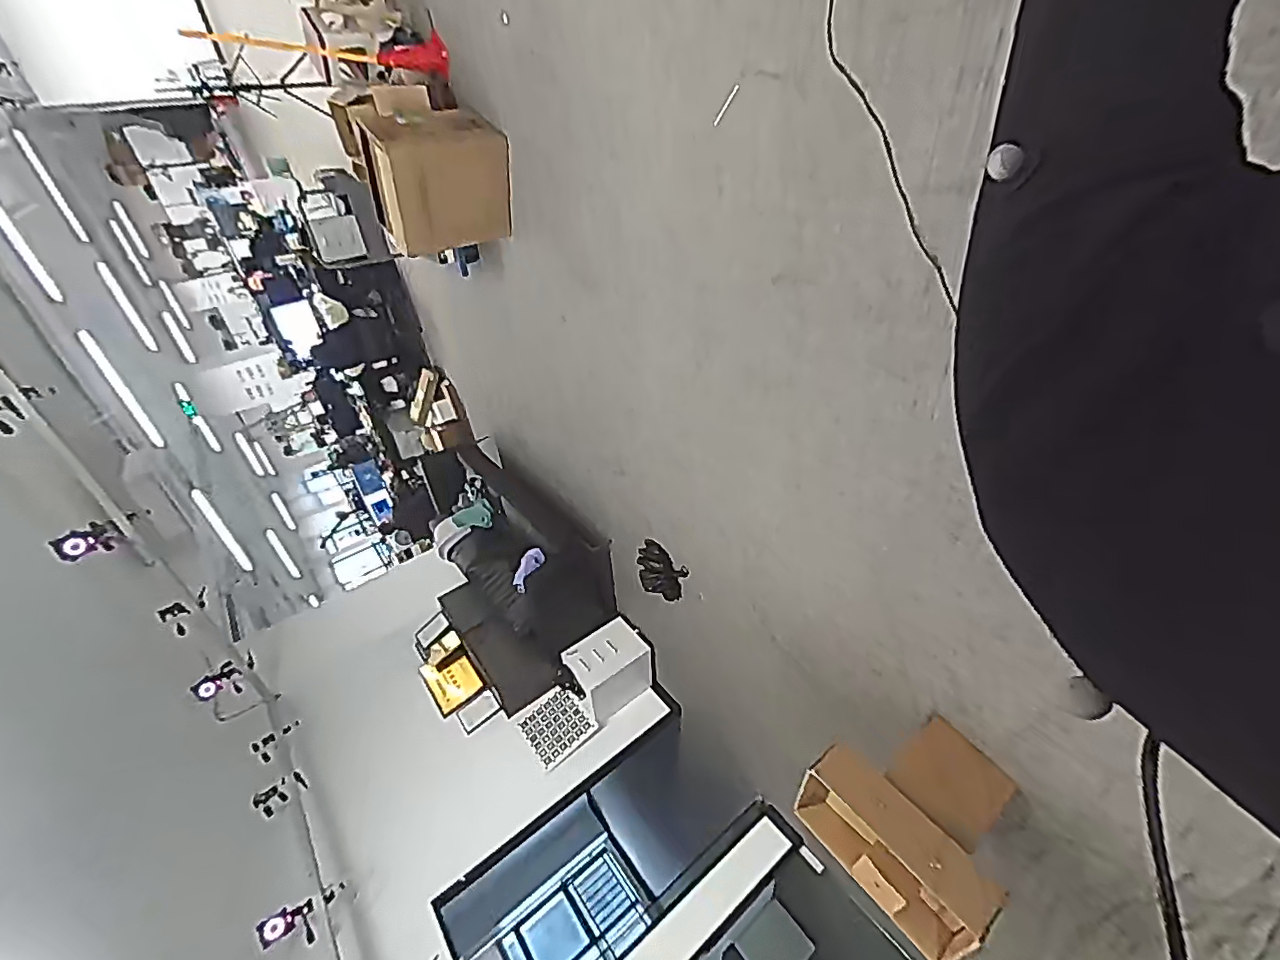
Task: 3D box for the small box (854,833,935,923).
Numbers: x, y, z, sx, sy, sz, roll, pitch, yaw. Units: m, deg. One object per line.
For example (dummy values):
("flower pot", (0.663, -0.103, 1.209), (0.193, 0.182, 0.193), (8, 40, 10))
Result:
("small box", (0.865, 1.344, 1.834), (0.168, 0.176, 0.179), (42, 148, 39))
